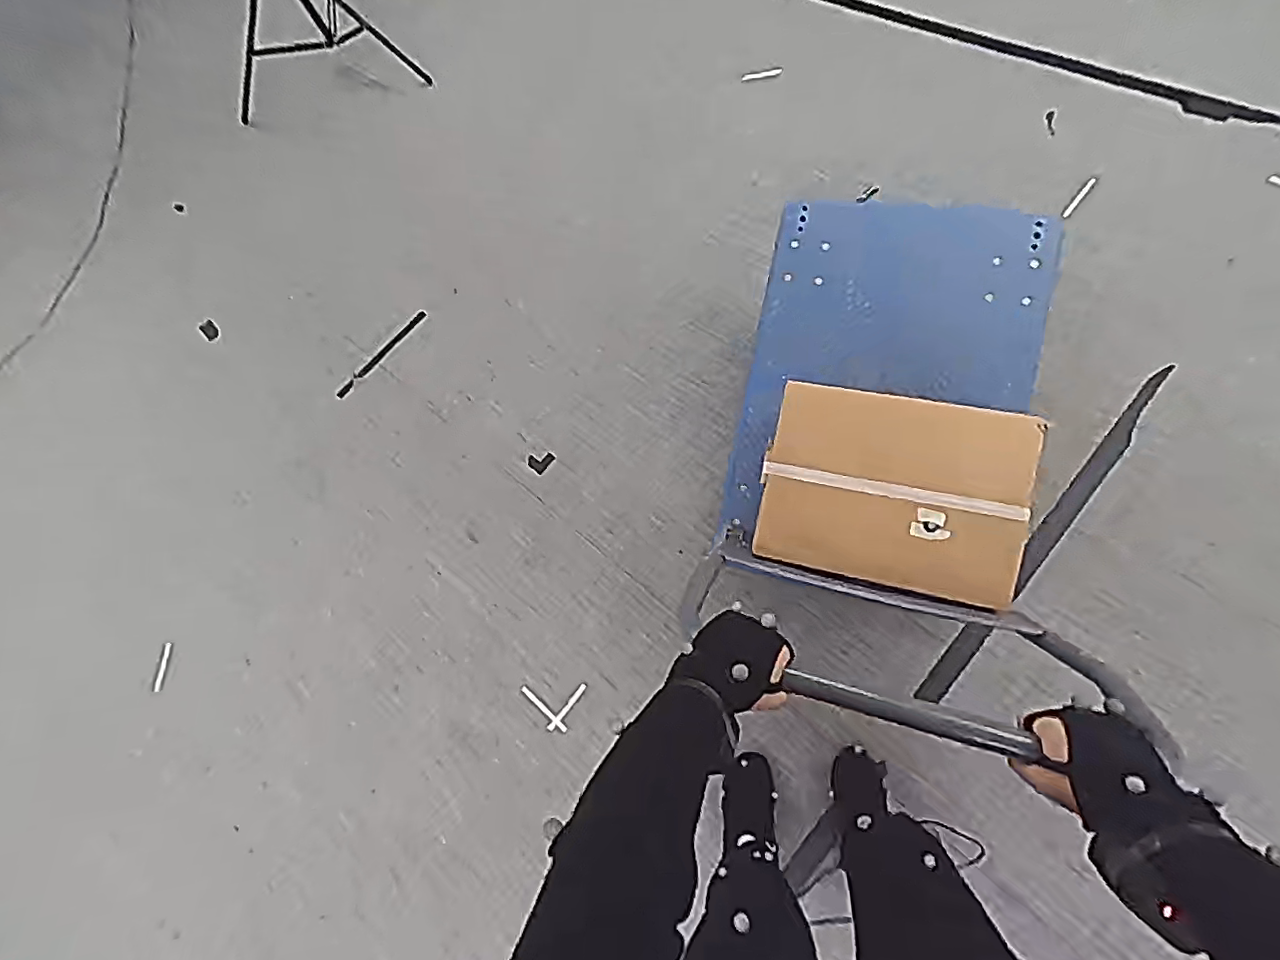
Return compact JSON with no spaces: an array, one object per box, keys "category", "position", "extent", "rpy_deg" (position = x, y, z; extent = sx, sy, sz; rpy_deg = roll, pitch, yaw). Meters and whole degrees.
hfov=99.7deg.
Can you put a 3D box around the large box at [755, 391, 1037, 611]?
[{"category":"large box","position":[0.453,0.035,1.055],"extent":[0.408,0.320,0.320],"rpy_deg":[12,90,14]}]
